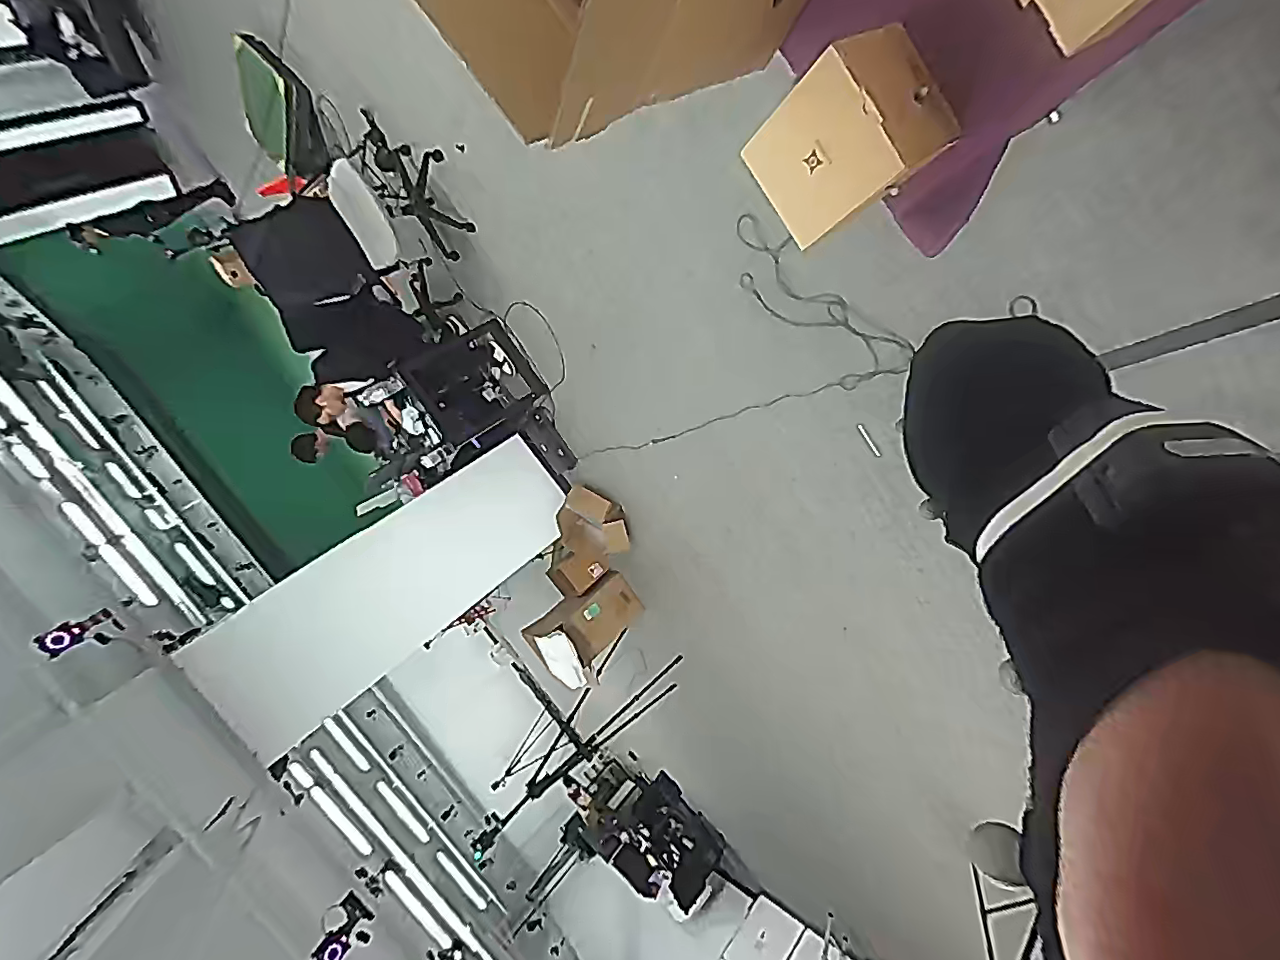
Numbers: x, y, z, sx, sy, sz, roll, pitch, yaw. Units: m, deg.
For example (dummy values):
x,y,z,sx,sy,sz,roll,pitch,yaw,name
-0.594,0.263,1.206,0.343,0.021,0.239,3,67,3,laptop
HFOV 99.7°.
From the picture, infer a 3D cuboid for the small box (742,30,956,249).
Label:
x,y,z,sx,sy,sz,roll,pitch,yaw,name
0.281,-0.456,0.734,0.168,0.176,0.179,55,150,-6,small box
